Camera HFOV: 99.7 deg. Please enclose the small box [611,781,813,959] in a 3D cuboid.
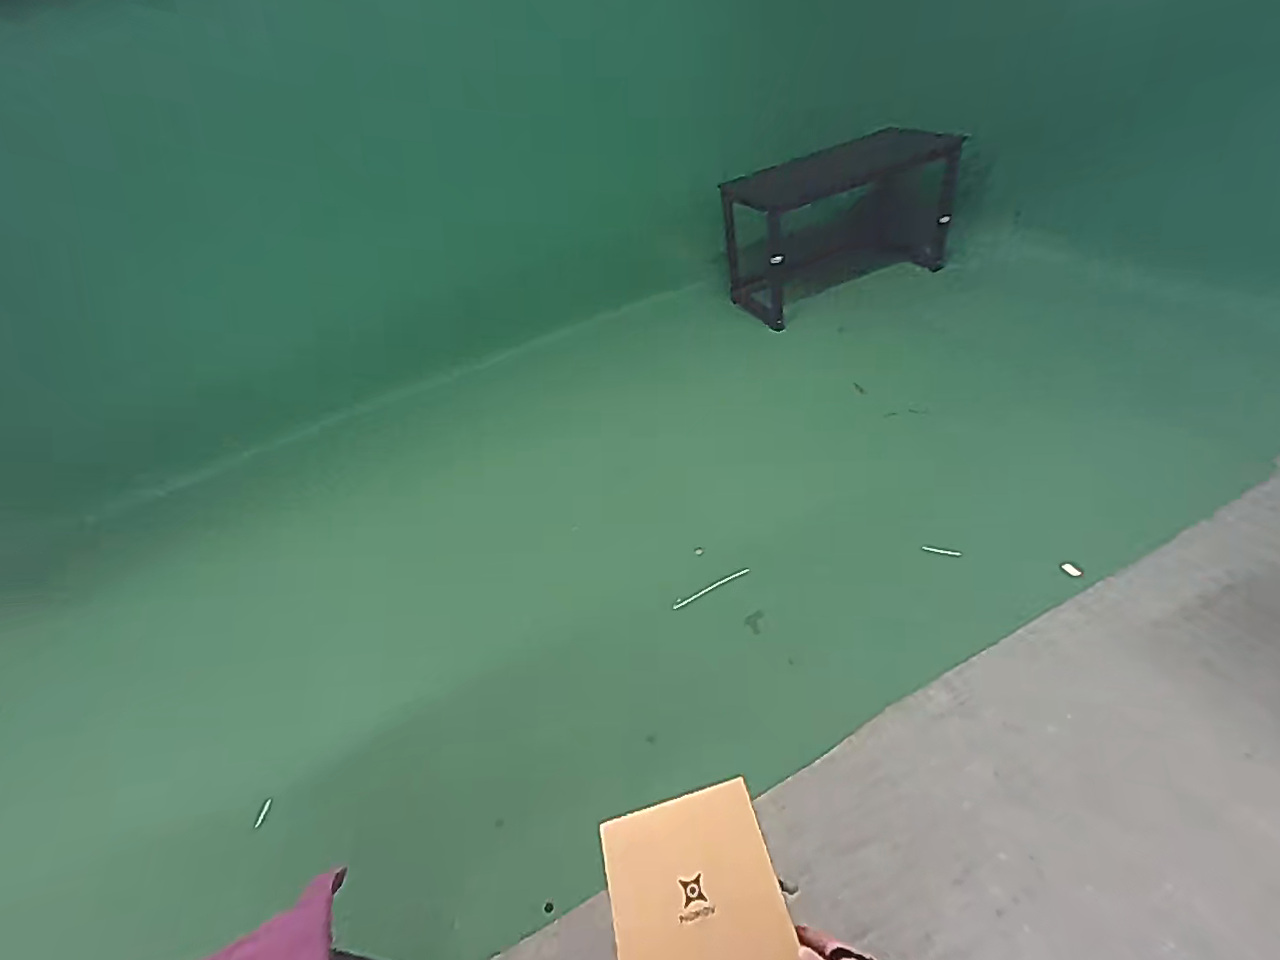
[{"bbox_3d":[0.076,0.459,0.577,0.168,0.176,0.179,-16,45,-1],"label":"small box"}]
